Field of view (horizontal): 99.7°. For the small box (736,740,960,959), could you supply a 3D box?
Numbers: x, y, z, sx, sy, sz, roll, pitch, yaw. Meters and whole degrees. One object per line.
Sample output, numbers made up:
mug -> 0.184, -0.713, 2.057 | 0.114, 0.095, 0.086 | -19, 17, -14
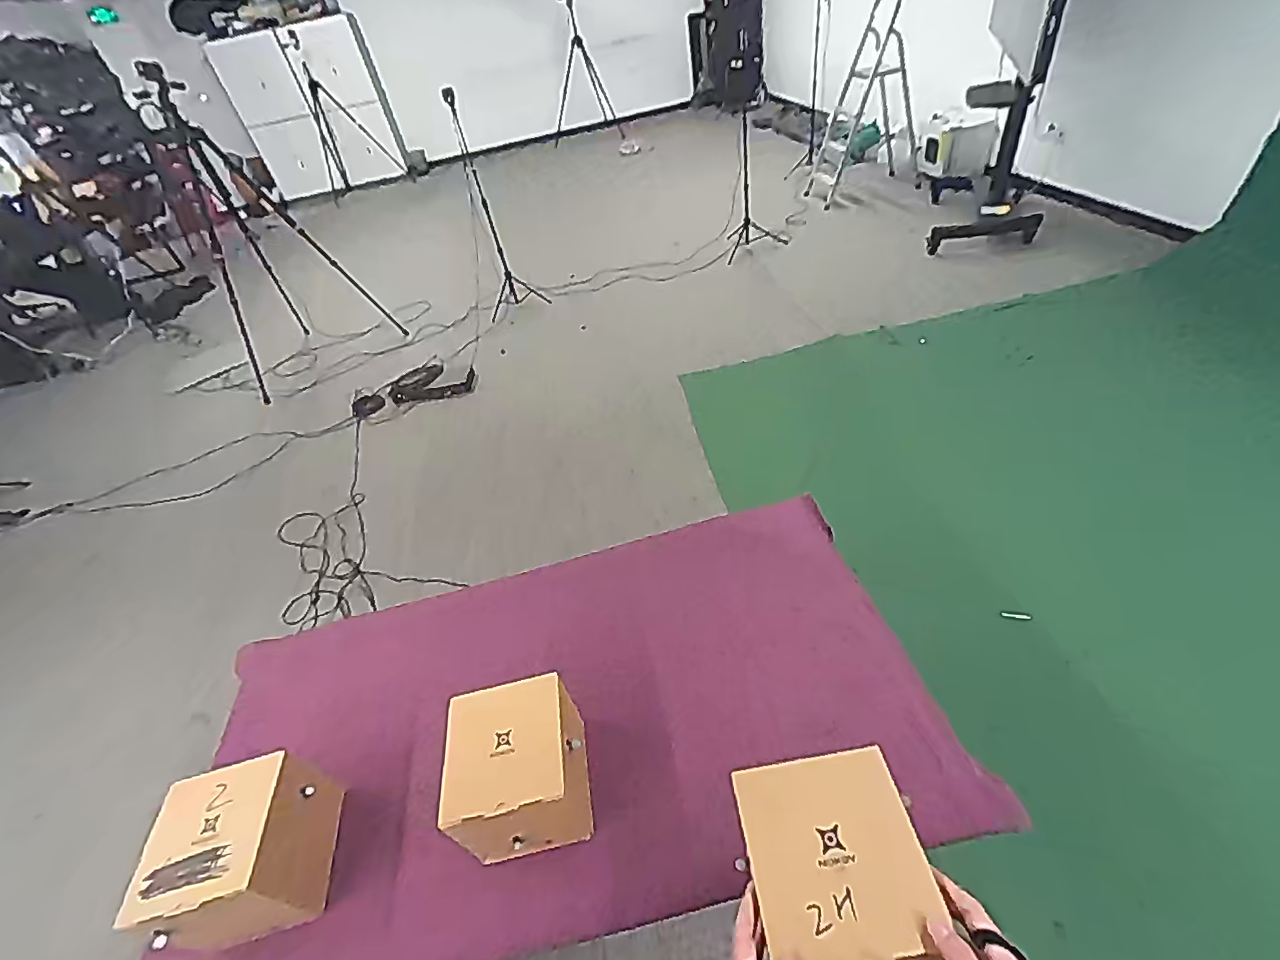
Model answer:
small box -> 0.206, 0.416, 0.586 | 0.168, 0.176, 0.179 | -12, 40, 4

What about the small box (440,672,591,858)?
small box -> -0.174, 0.417, 0.793 | 0.168, 0.176, 0.179 | -13, 42, -2
